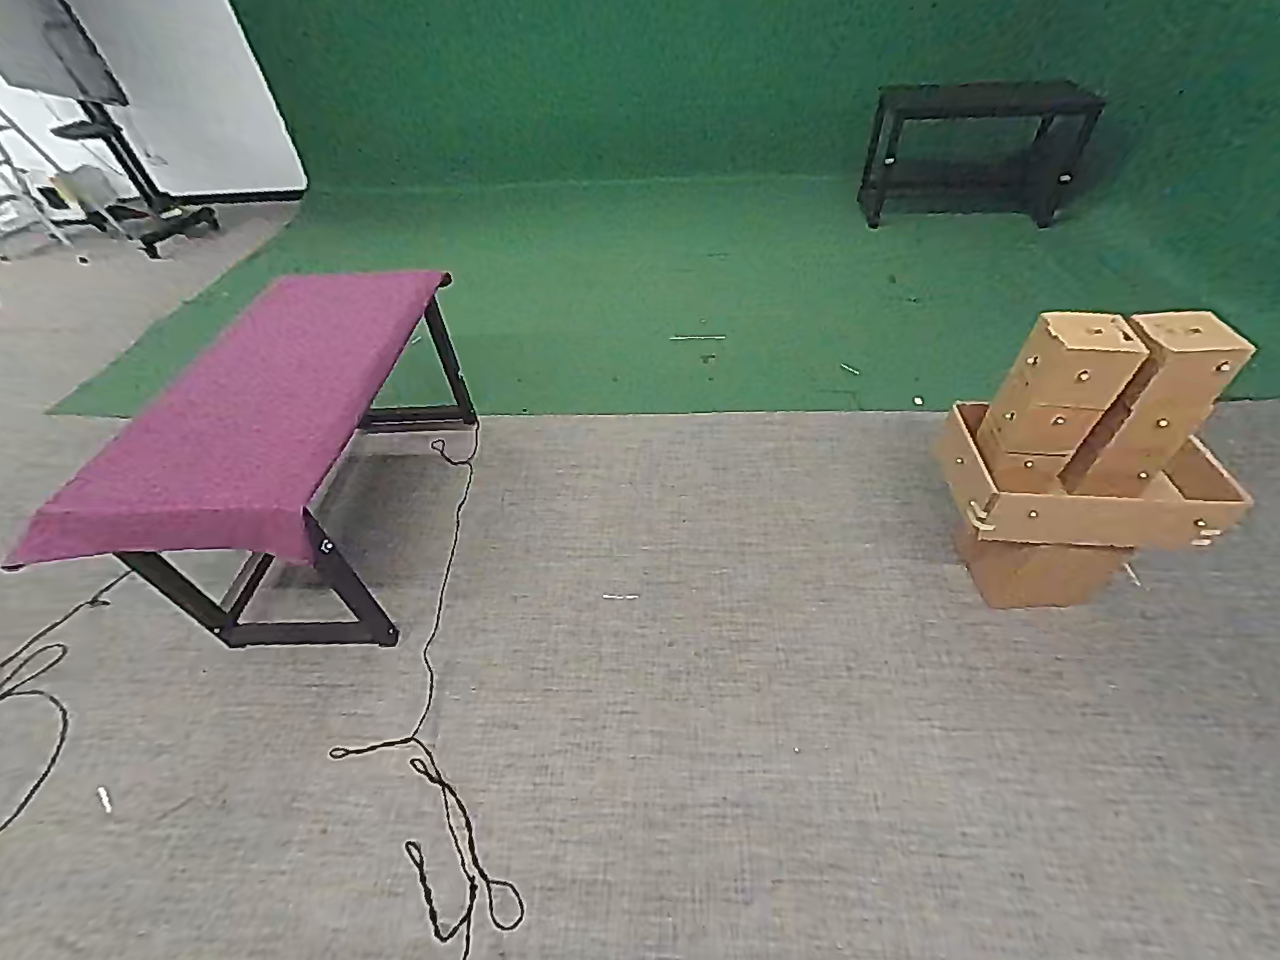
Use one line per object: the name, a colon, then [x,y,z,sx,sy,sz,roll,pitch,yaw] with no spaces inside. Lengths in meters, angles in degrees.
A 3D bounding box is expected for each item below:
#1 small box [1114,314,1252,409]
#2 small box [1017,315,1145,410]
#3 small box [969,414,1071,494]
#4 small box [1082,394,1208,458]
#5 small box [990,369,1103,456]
small box: [1.290,-0.286,1.320,0.179,0.176,0.168,-1,46,7]
small box: [1.069,-0.289,1.336,0.179,0.176,0.168,5,48,9]
small box: [1.094,-0.074,1.580,0.179,0.176,0.168,3,47,6]
small box: [1.318,-0.173,1.438,0.179,0.176,0.168,1,48,8]
small box: [1.077,-0.180,1.457,0.179,0.176,0.168,5,48,8]
